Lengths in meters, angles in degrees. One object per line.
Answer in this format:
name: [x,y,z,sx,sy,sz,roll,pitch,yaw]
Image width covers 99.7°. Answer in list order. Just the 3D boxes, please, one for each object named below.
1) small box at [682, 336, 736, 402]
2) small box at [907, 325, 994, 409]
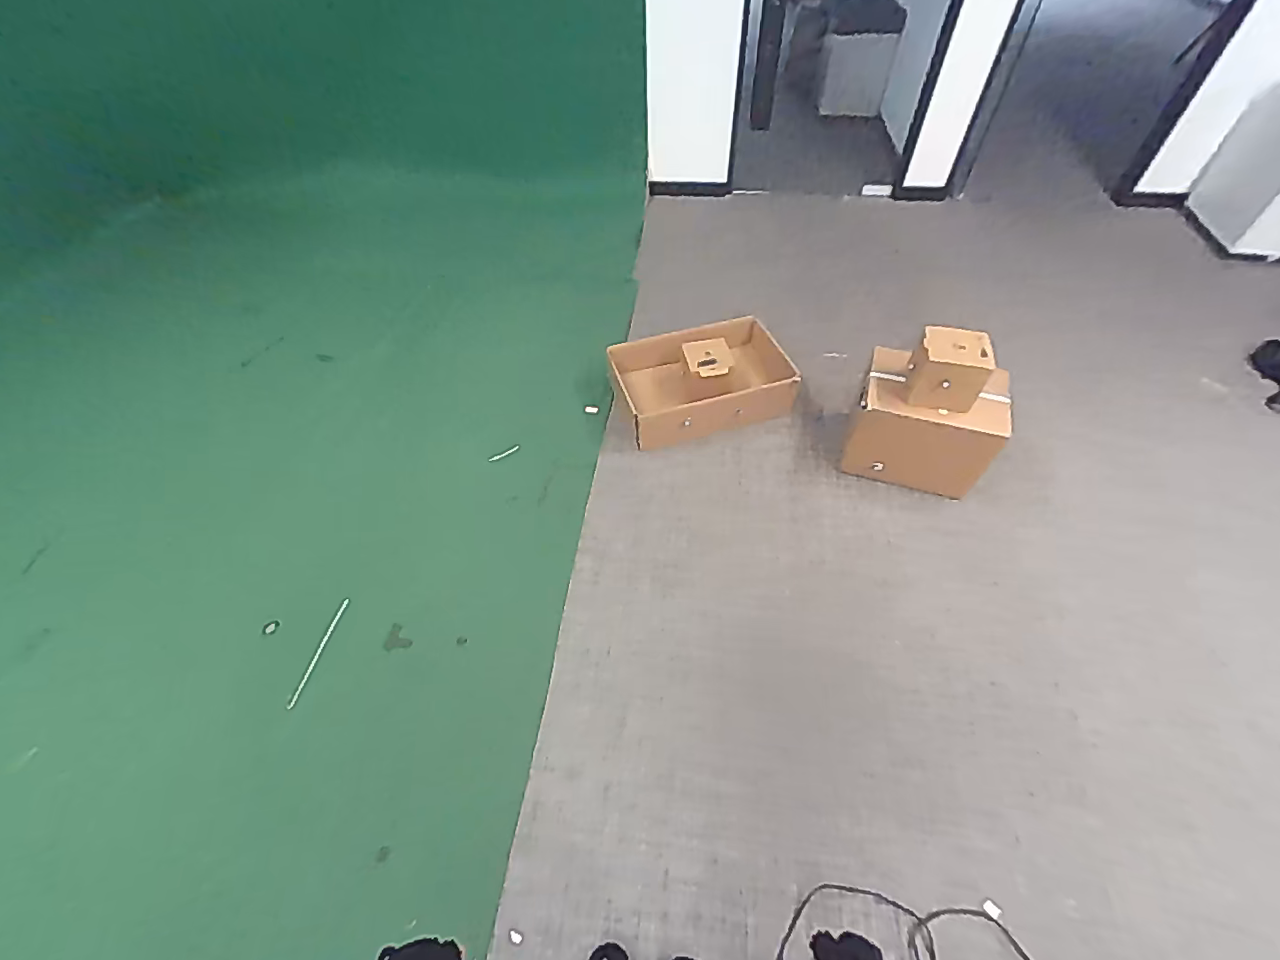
small box: [0.251,-0.405,2.002,0.168,0.176,0.179,-8,50,-4]
small box: [0.897,-0.327,1.584,0.179,0.176,0.168,10,53,10]
